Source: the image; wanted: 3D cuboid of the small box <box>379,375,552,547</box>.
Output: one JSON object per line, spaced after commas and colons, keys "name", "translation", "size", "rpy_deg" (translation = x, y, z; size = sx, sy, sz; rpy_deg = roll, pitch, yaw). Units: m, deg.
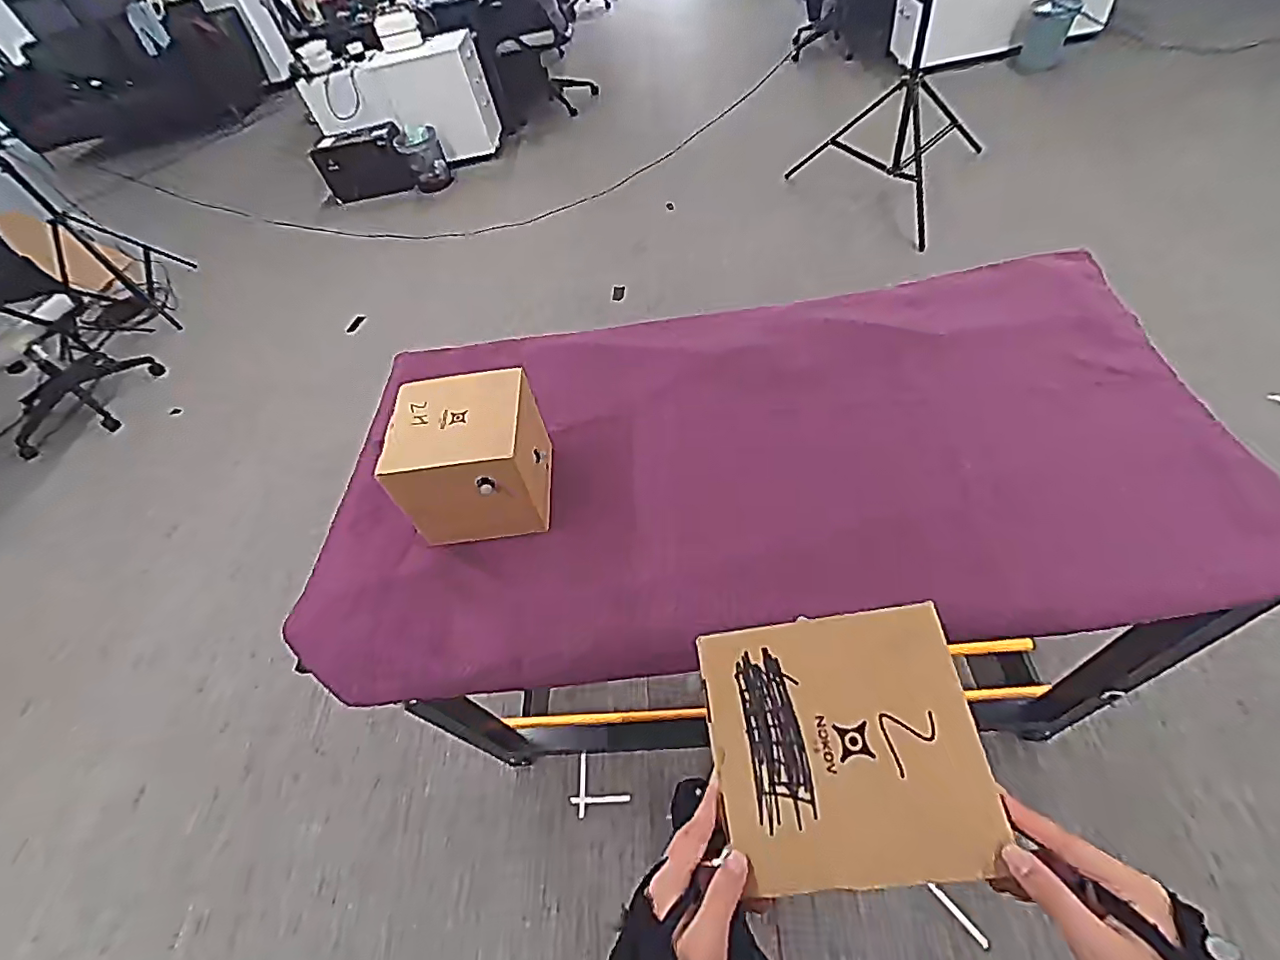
{"name": "small box", "translation": [-0.228, -0.022, 0.764], "size": [0.179, 0.176, 0.168], "rpy_deg": [-7, 51, 3]}
